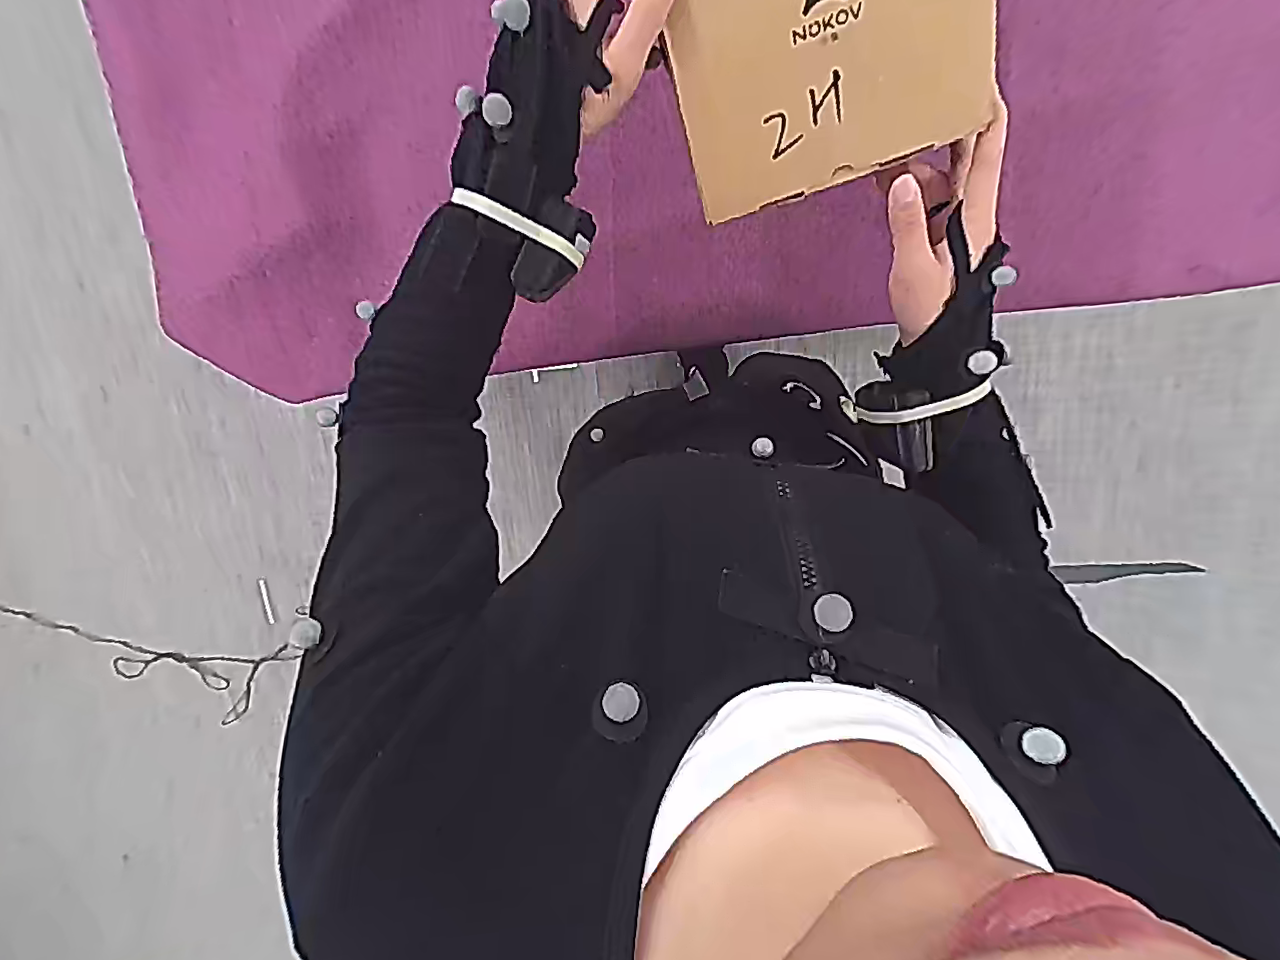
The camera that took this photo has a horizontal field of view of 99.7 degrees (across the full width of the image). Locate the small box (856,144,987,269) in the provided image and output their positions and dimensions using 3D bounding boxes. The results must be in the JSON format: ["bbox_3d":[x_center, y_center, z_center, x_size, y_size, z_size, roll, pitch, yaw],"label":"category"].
[{"bbox_3d":[0.516,-0.499,1.015,0.168,0.176,0.179,-3,103,6],"label":"small box"}]
